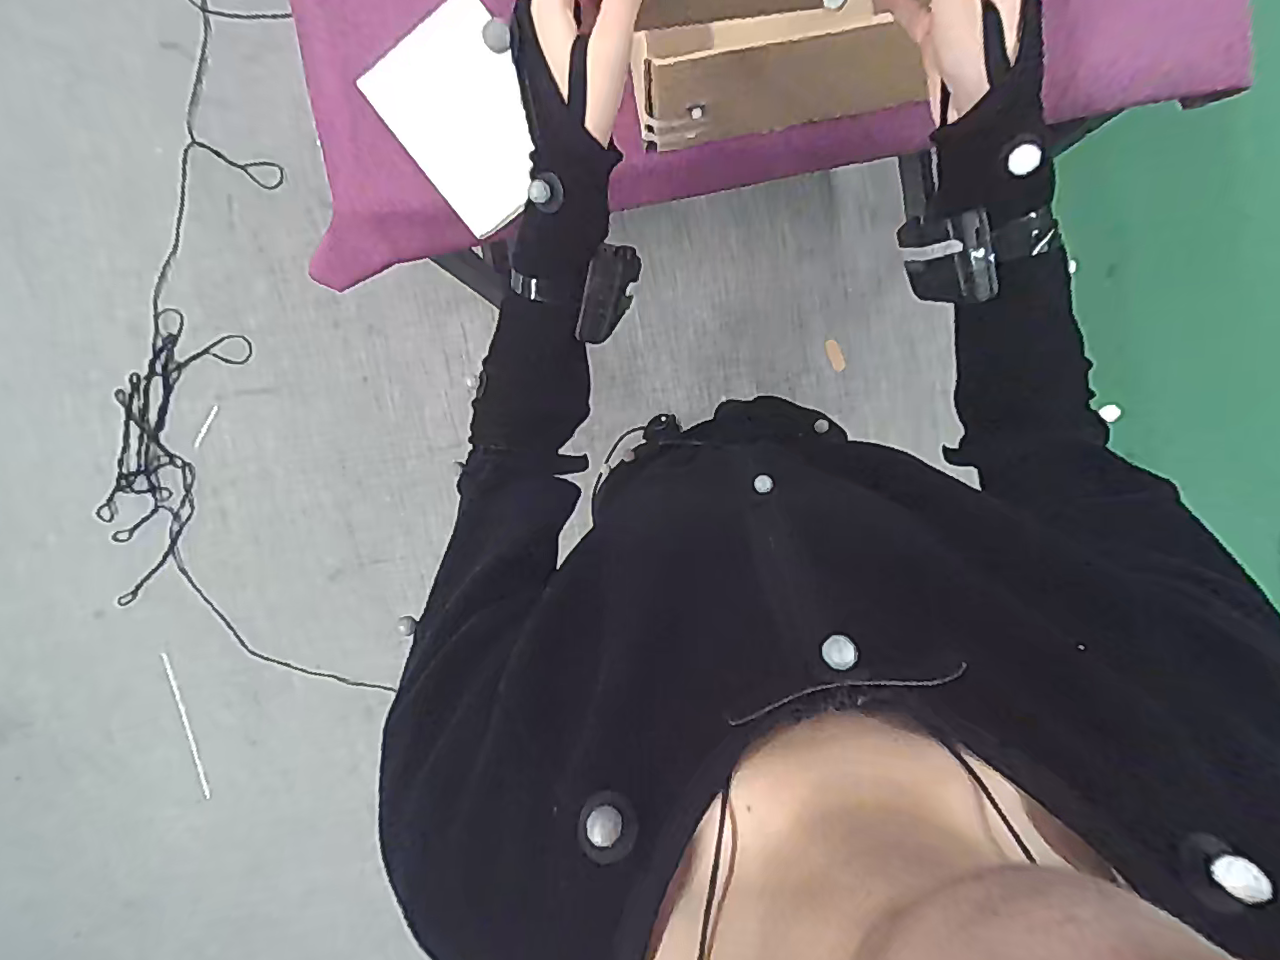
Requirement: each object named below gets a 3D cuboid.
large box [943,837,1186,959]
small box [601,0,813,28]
[{"bbox_3d":[1.104,1.235,1.402,0.408,0.320,0.320,-25,94,3],"label":"large box"},{"bbox_3d":[0.059,-0.377,0.297,0.179,0.176,0.168,-9,121,-2],"label":"small box"}]
